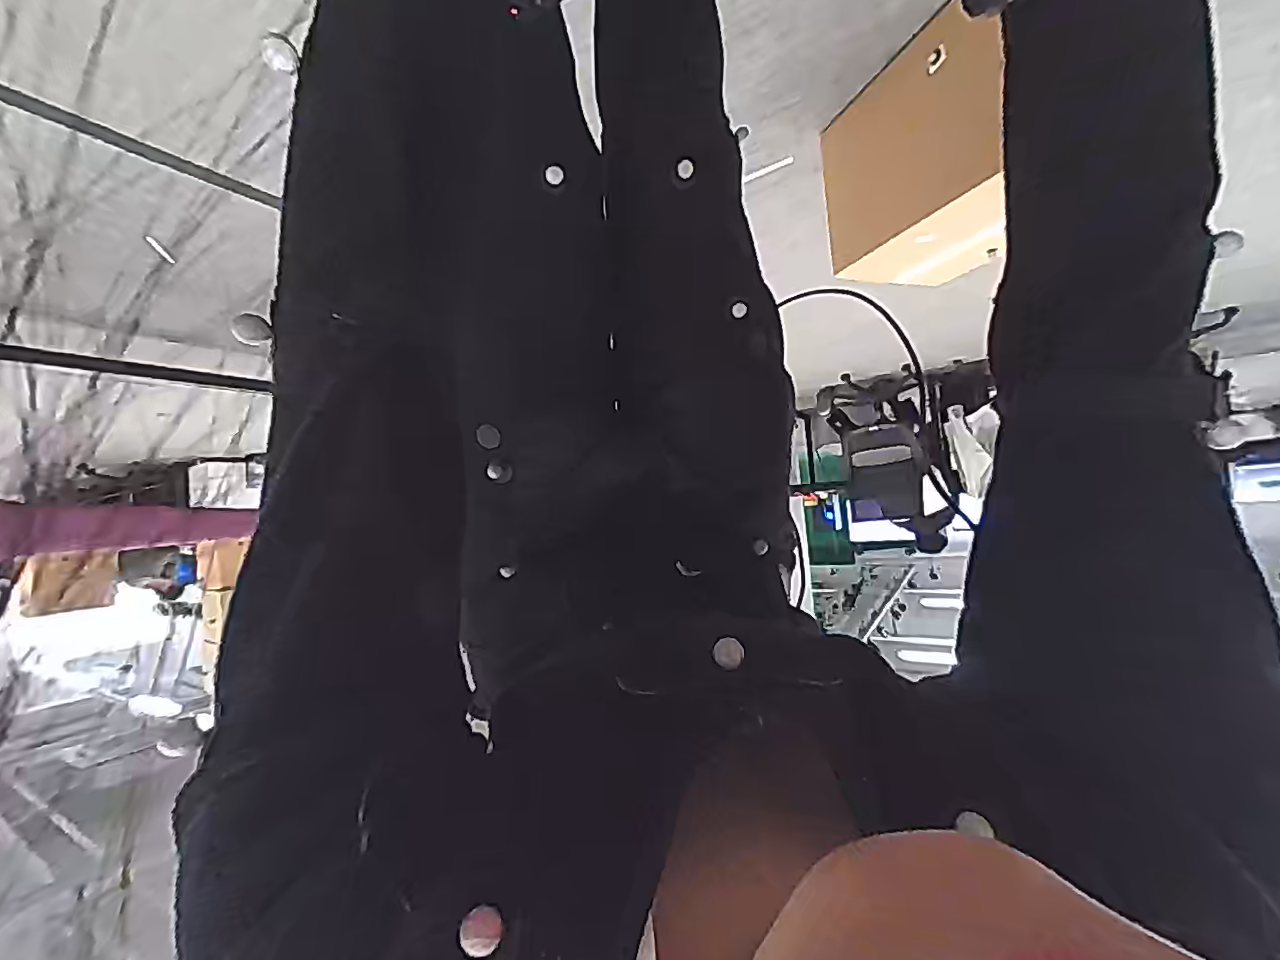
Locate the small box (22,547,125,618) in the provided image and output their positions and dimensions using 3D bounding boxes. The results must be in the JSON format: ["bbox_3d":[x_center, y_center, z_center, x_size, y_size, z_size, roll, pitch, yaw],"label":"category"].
[{"bbox_3d":[-1.576,0.278,1.502,0.179,0.176,0.168,-6,177,31],"label":"small box"}]

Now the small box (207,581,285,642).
[{"bbox_3d":[-1.310,0.428,1.792,0.179,0.176,0.168,-7,177,37],"label":"small box"}]

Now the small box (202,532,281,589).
[{"bbox_3d":[-1.340,0.267,1.813,0.179,0.176,0.168,-6,178,32],"label":"small box"}]
